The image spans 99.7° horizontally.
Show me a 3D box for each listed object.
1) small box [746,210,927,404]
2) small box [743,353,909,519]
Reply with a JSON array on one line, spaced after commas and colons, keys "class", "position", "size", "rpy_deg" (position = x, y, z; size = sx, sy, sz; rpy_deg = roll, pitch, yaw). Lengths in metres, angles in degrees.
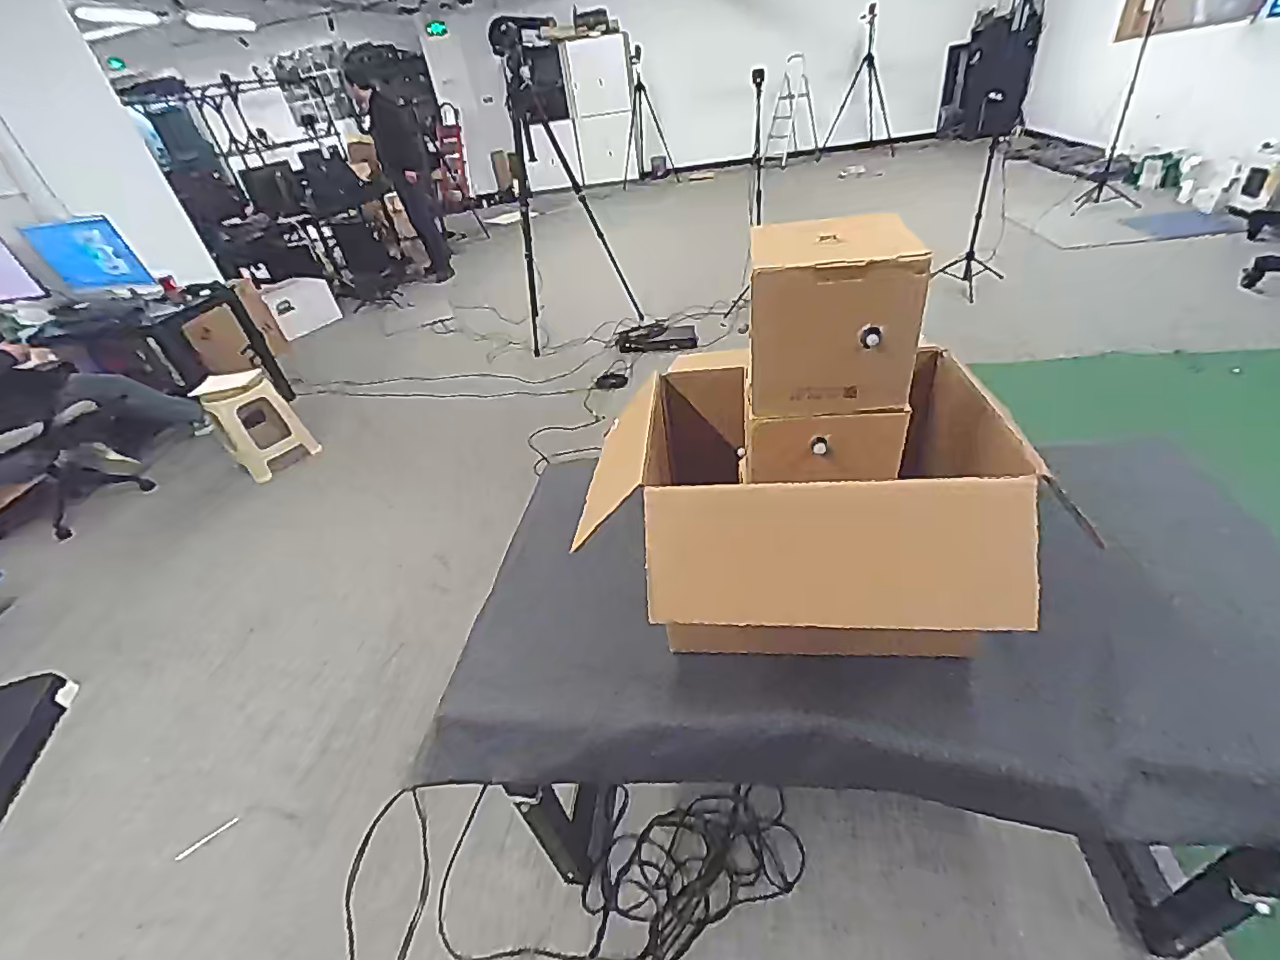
[{"class": "small box", "position": [0.208, -0.195, 0.623], "size": [0.168, 0.176, 0.179], "rpy_deg": [0, 36, 10]}, {"class": "small box", "position": [0.227, -0.062, 0.713], "size": [0.179, 0.176, 0.168], "rpy_deg": [-2, 37, 9]}]
